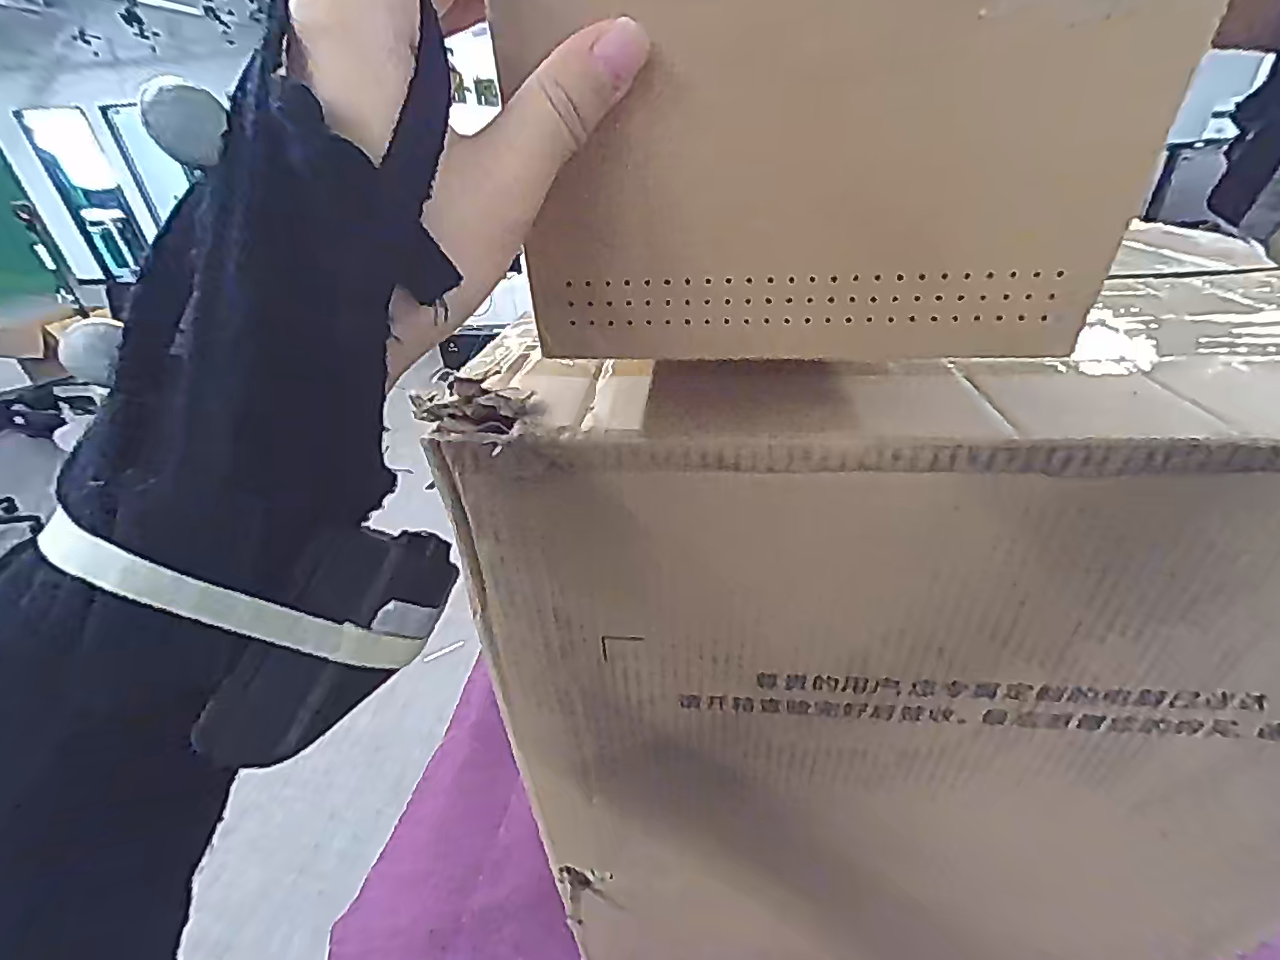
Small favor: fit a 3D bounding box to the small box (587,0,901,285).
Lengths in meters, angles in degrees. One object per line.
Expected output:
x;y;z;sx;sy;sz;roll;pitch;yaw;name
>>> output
0.061;-0.242;0.379;0.168;0.176;0.179;1;32;7;small box
